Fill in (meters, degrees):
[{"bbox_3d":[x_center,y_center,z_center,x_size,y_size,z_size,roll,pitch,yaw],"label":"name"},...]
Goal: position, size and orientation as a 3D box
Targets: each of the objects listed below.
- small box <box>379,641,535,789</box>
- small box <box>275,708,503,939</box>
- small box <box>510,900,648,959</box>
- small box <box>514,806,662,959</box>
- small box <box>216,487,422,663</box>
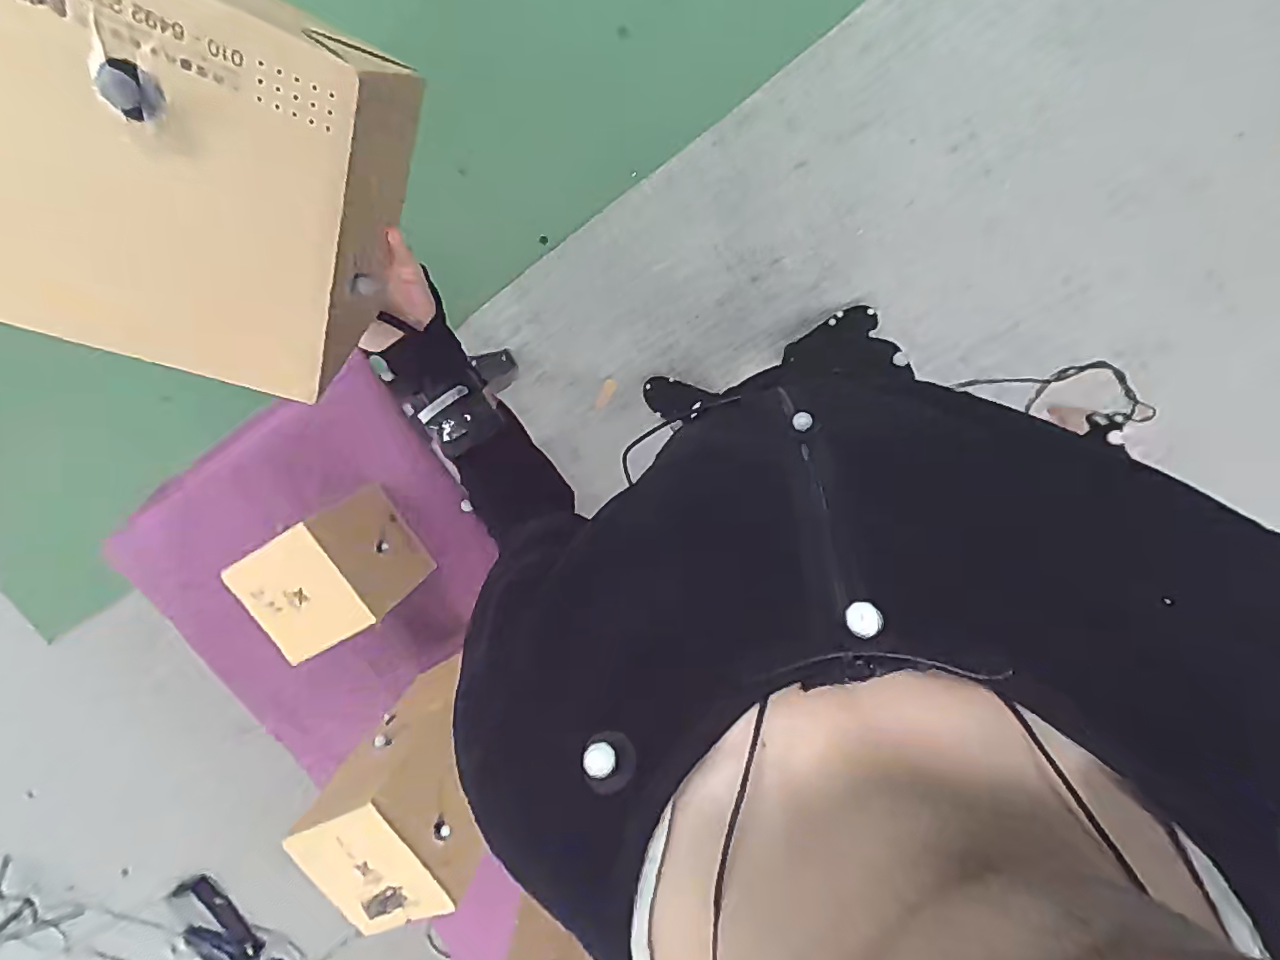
[{"bbox_3d":[-0.290,0.393,0.868,0.179,0.176,0.168,-32,100,18],"label":"small box"},{"bbox_3d":[-0.312,0.443,0.713,0.168,0.176,0.179,-29,100,17],"label":"small box"},{"bbox_3d":[-0.093,0.755,0.778,0.179,0.176,0.168,-31,100,15],"label":"small box"},{"bbox_3d":[-0.078,0.713,0.935,0.179,0.176,0.168,-32,100,16],"label":"small box"},{"bbox_3d":[-0.458,0.133,0.809,0.179,0.176,0.168,-28,102,17],"label":"small box"}]
